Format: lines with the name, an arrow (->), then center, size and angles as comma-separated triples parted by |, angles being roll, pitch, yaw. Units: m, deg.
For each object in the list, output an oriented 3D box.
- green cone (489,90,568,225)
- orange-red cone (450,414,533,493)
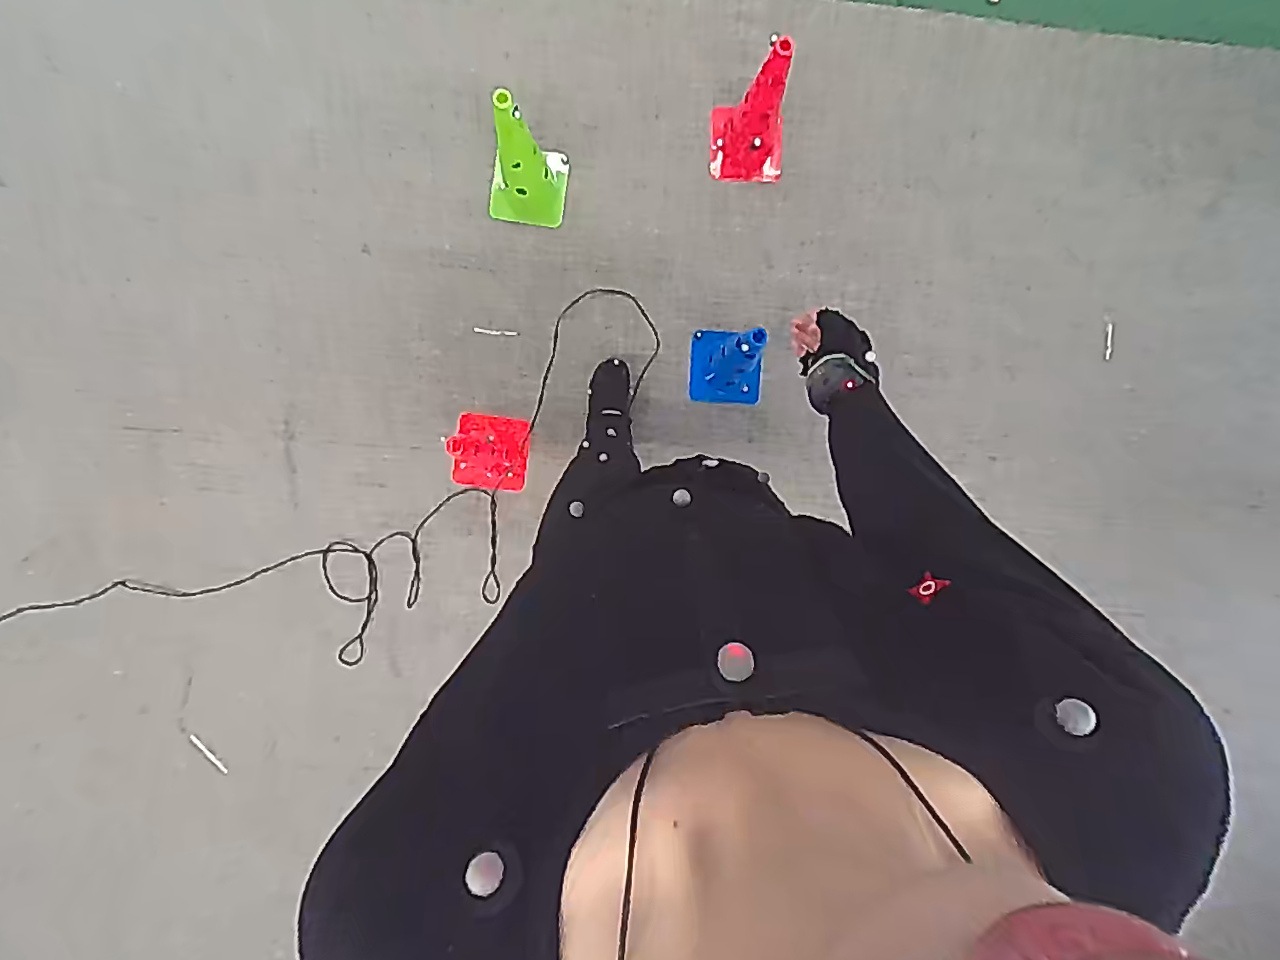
green cone -> -0.297, -0.800, 1.298 | 0.200, 0.368, 0.202 | 6, 92, -2
orange-red cone -> -0.391, -0.074, 1.307 | 0.198, 0.360, 0.199 | 9, 89, -3
